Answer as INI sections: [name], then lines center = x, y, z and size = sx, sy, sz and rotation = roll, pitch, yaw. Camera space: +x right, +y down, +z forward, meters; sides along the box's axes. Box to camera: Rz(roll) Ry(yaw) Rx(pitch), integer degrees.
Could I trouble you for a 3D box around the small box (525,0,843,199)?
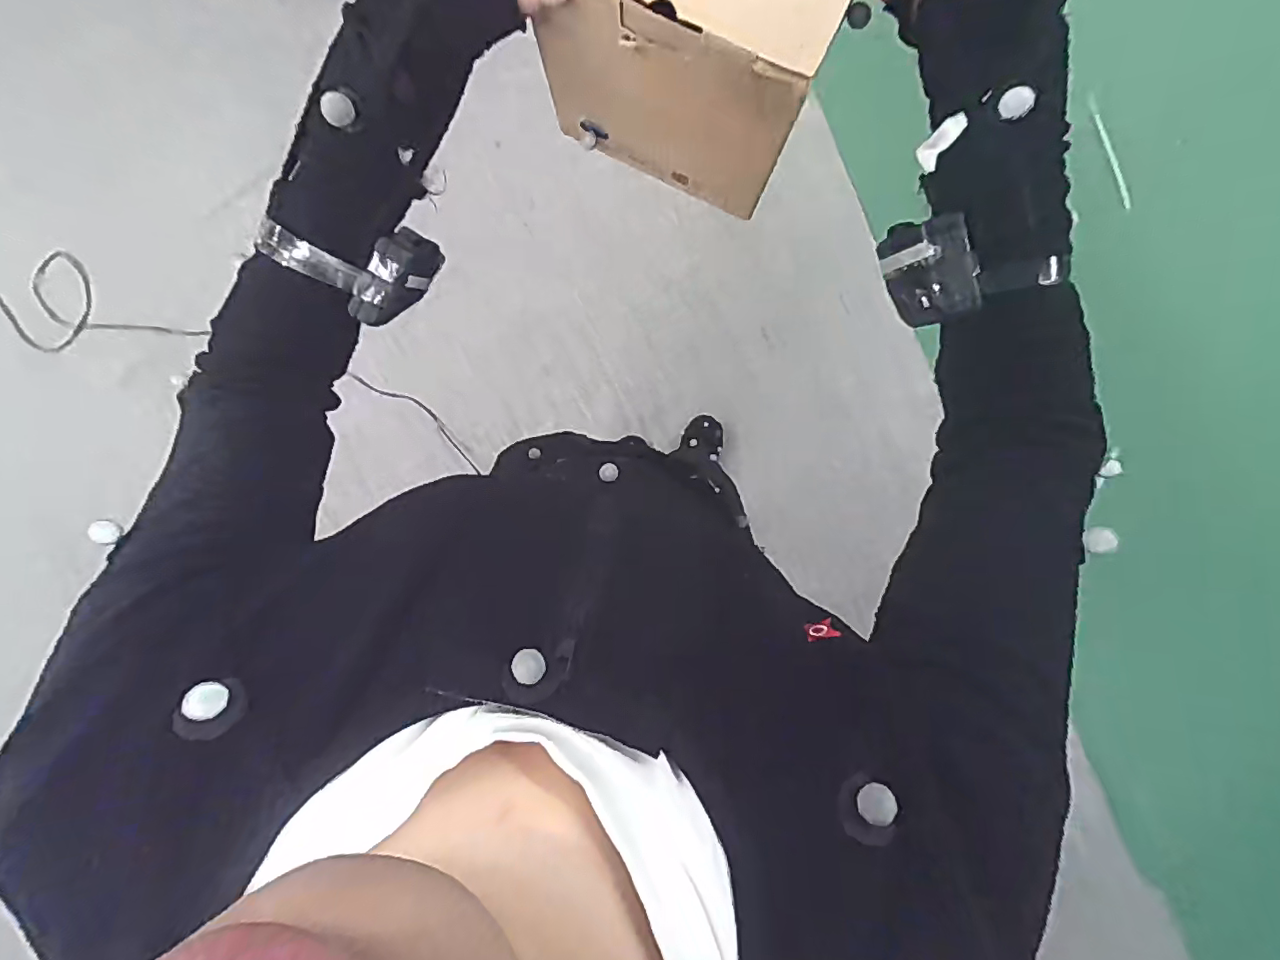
[small box]
center = 0.041, -0.315, 0.334
size = 0.168, 0.176, 0.179
rotation = 25, 93, -1
